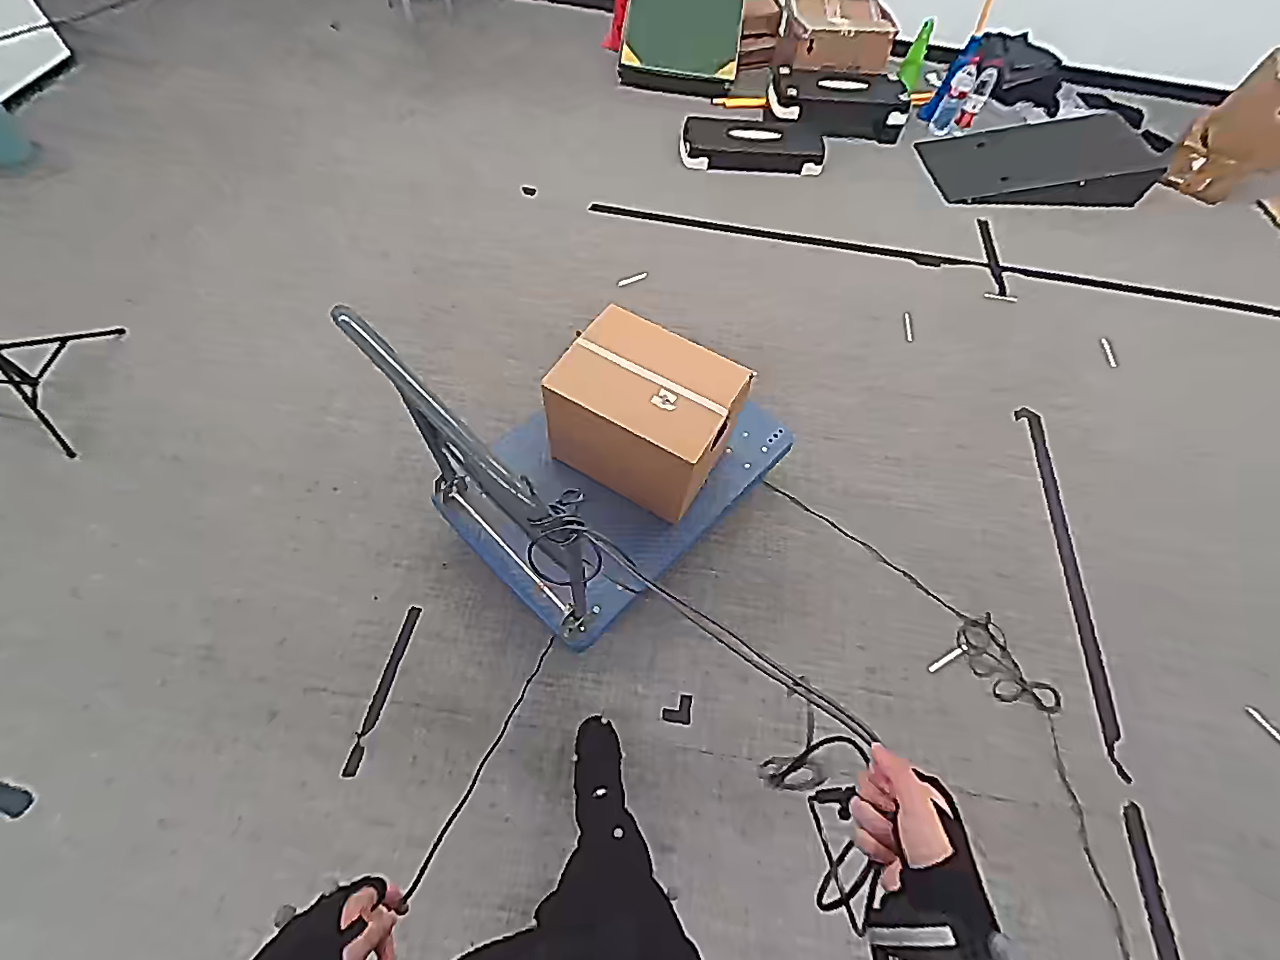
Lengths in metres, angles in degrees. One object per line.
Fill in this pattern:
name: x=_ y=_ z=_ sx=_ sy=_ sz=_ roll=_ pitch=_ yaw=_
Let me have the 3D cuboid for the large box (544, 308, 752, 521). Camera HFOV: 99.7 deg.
large box: x=0.011 y=-0.161 z=1.386 sx=0.408 sy=0.320 sz=0.320 roll=29 pitch=63 yaw=11
